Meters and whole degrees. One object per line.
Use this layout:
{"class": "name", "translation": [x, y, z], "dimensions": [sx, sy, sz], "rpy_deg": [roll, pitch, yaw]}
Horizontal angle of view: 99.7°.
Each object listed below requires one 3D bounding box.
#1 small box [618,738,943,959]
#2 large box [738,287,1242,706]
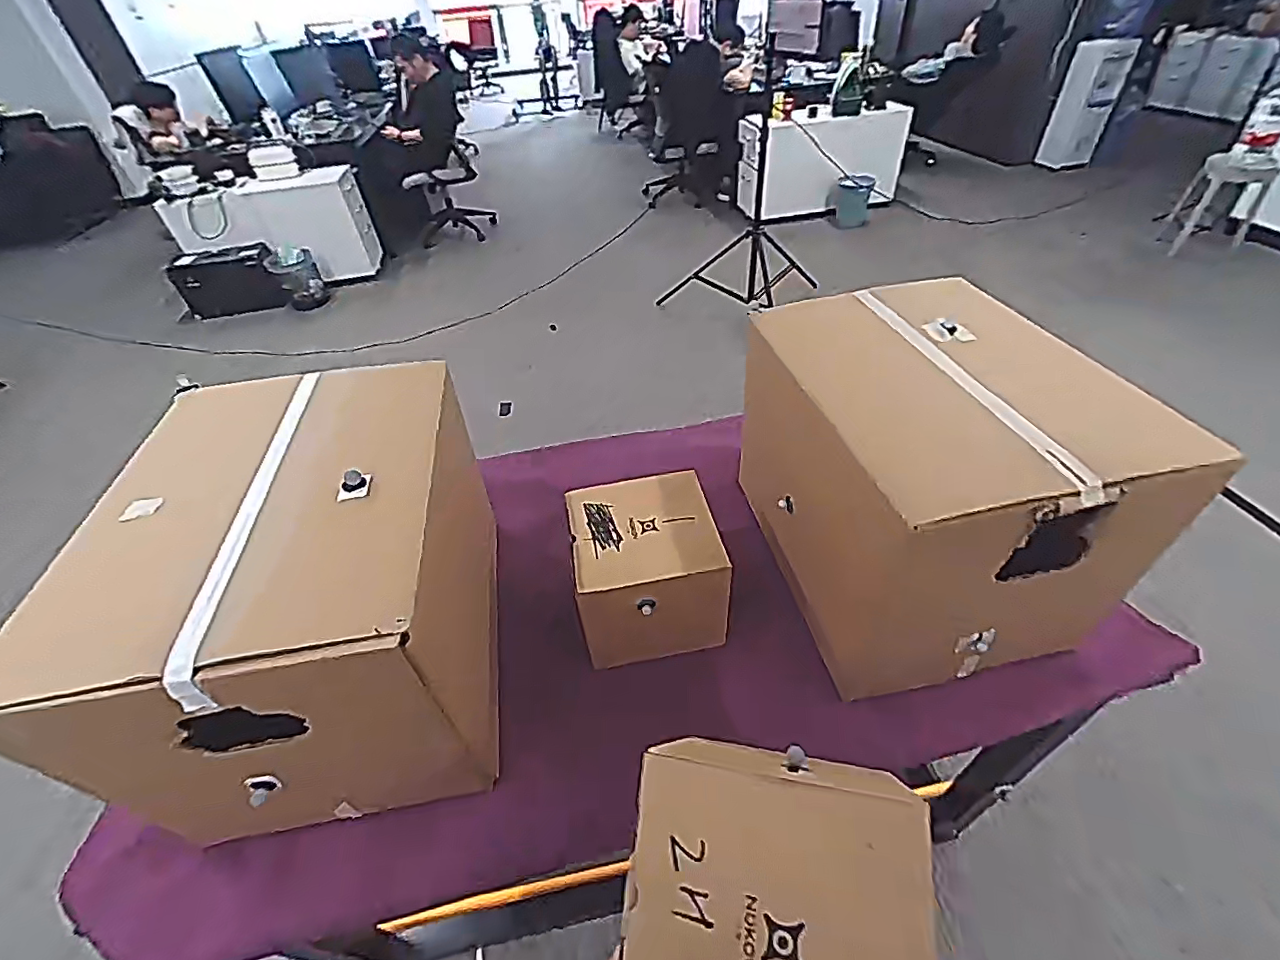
{"class": "small box", "translation": [0.095, 0.284, 0.376], "dimensions": [0.179, 0.176, 0.168], "rpy_deg": [2, 69, 17]}
{"class": "large box", "translation": [0.338, -0.001, 0.685], "dimensions": [0.320, 0.320, 0.408], "rpy_deg": [-10, 42, -6]}
